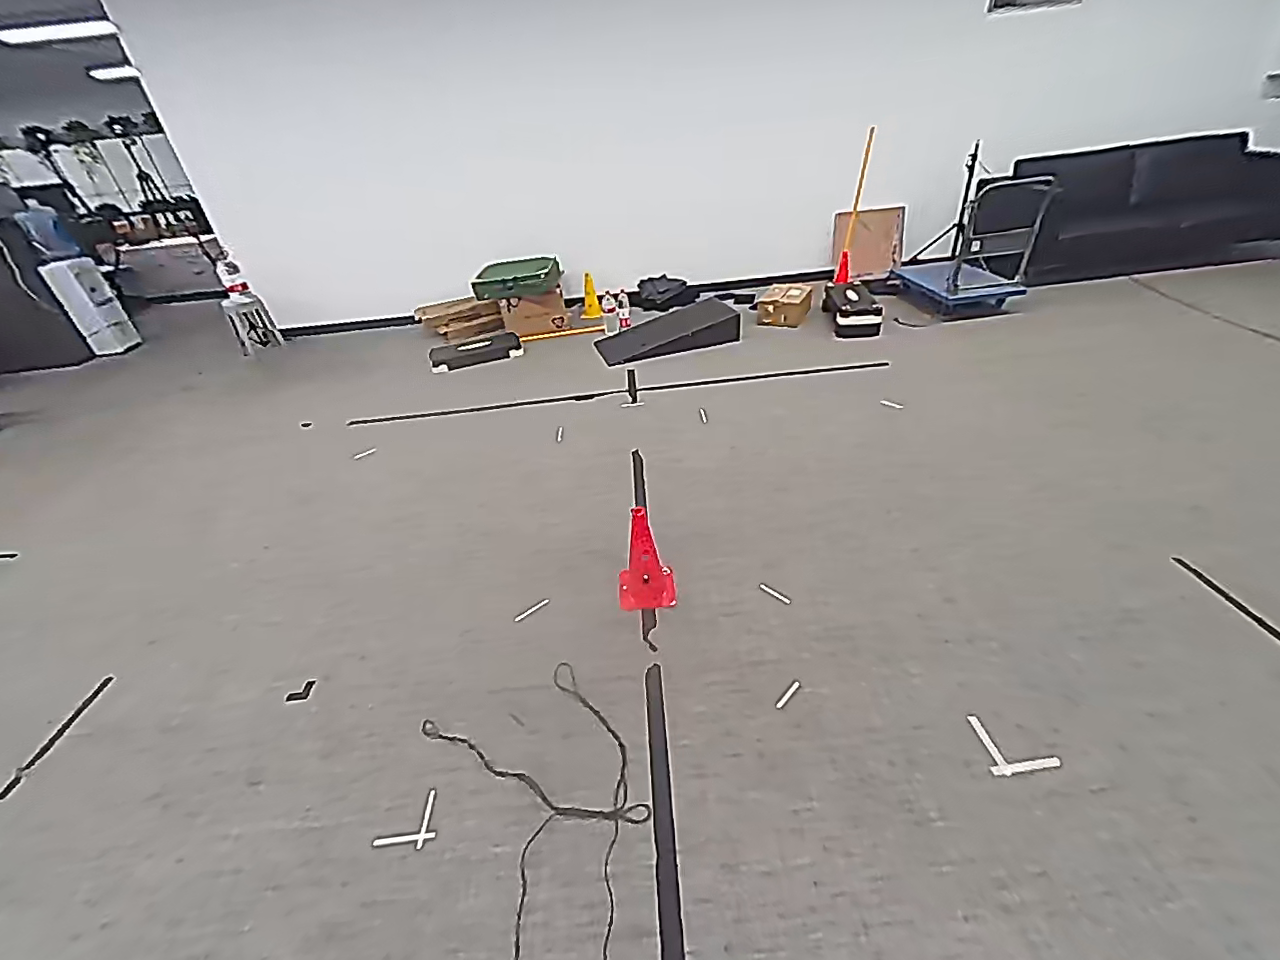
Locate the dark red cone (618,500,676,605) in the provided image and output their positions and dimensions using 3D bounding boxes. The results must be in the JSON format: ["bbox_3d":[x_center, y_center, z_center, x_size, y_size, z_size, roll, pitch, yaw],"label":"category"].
[{"bbox_3d":[0.005,0.232,1.849,0.201,0.394,0.202,-7,35,0],"label":"dark red cone"}]
